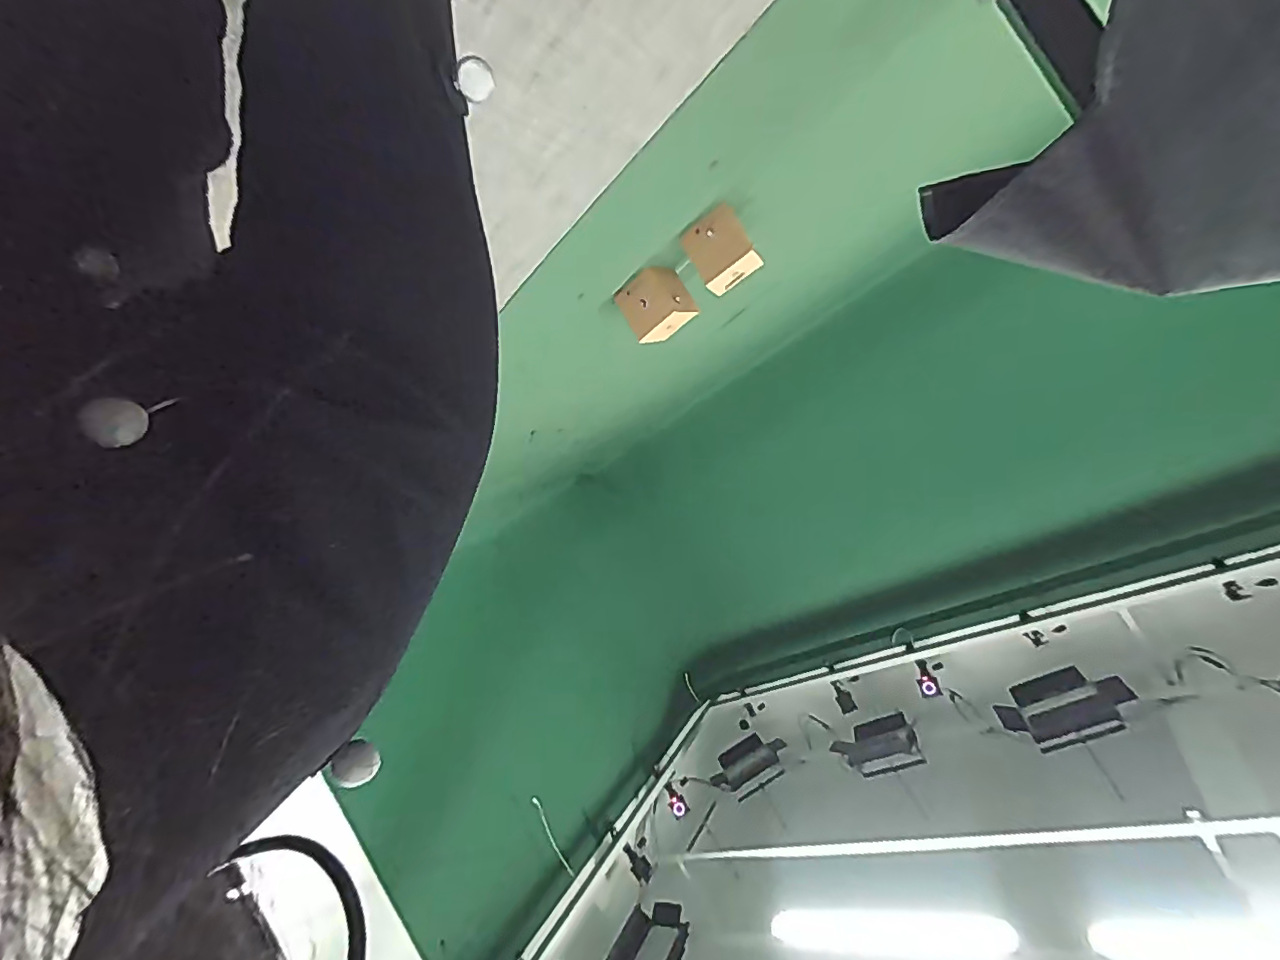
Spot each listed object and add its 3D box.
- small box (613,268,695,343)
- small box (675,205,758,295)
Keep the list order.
[{"bbox_3d":[0.042,-0.567,1.754,0.168,0.176,0.179,-32,177,35],"label":"small box"},{"bbox_3d":[0.232,-0.688,1.626,0.168,0.176,0.179,-33,175,23],"label":"small box"}]
